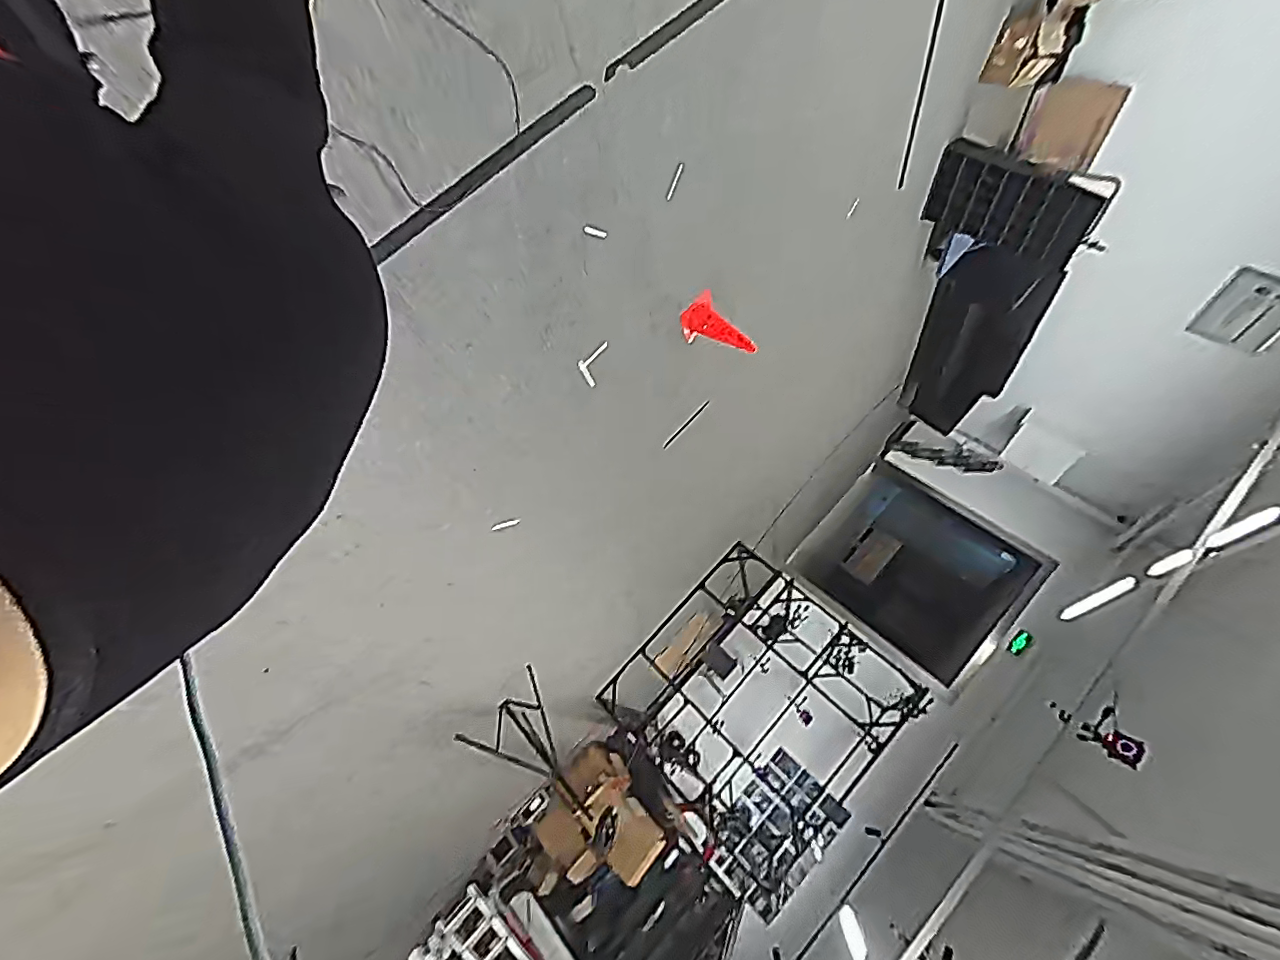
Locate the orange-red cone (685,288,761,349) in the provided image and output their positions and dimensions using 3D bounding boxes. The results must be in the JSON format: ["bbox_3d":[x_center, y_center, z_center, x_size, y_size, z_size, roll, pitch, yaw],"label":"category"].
[{"bbox_3d":[0.412,-0.702,2.505,0.199,0.360,0.198,-48,153,-7],"label":"orange-red cone"}]
